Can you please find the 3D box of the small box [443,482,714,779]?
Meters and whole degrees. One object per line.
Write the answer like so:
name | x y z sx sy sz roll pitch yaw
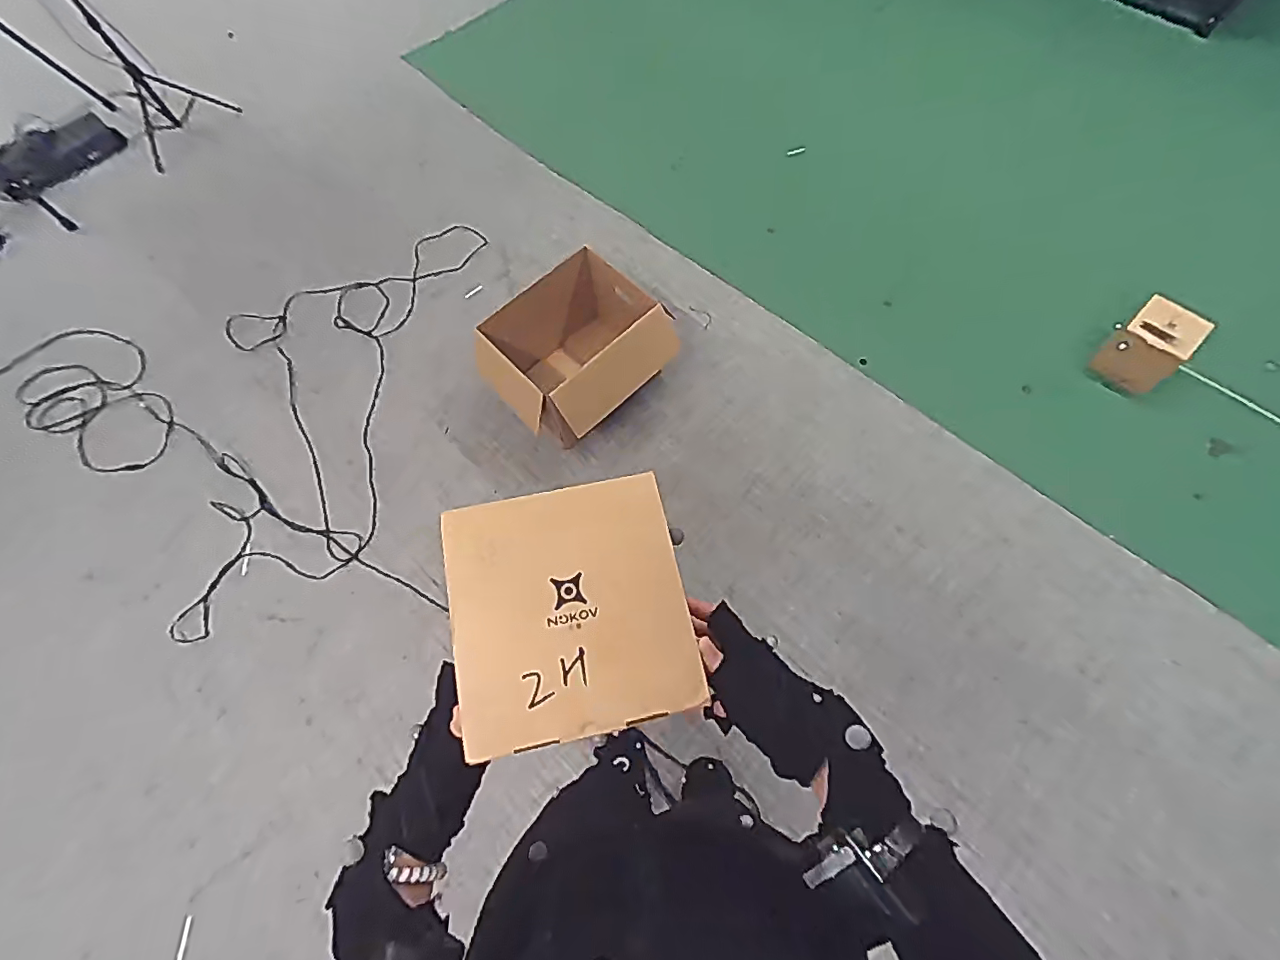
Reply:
small box | -0.051 0.122 0.445 0.168 0.176 0.179 -11 70 -7
